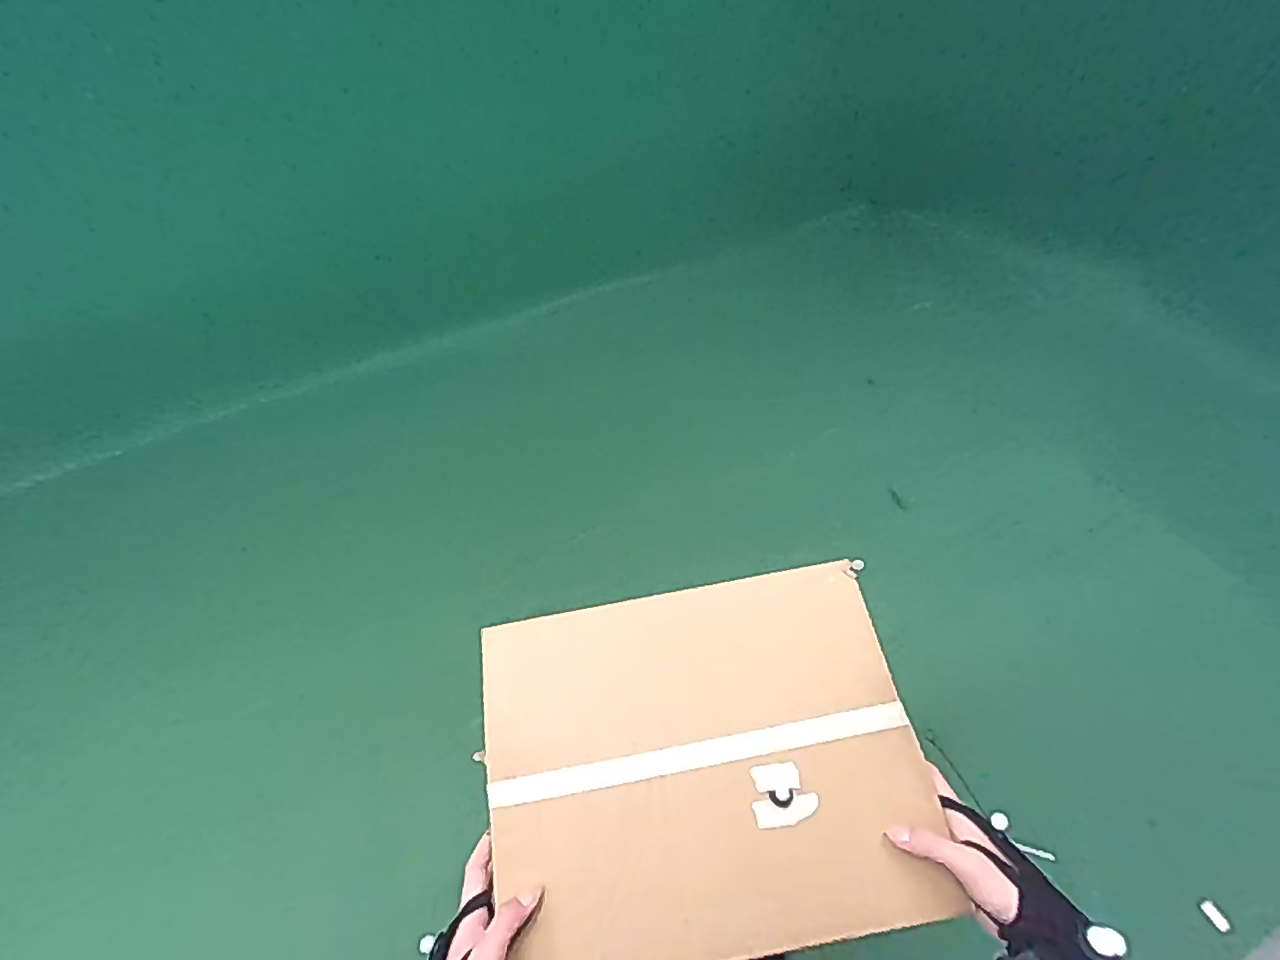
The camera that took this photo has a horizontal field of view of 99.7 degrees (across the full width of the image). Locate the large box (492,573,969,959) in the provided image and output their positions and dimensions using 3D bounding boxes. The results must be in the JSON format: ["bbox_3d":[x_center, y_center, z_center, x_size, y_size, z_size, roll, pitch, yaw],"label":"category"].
[{"bbox_3d":[0.069,0.338,0.652,0.408,0.320,0.320,-10,64,-2],"label":"large box"}]
